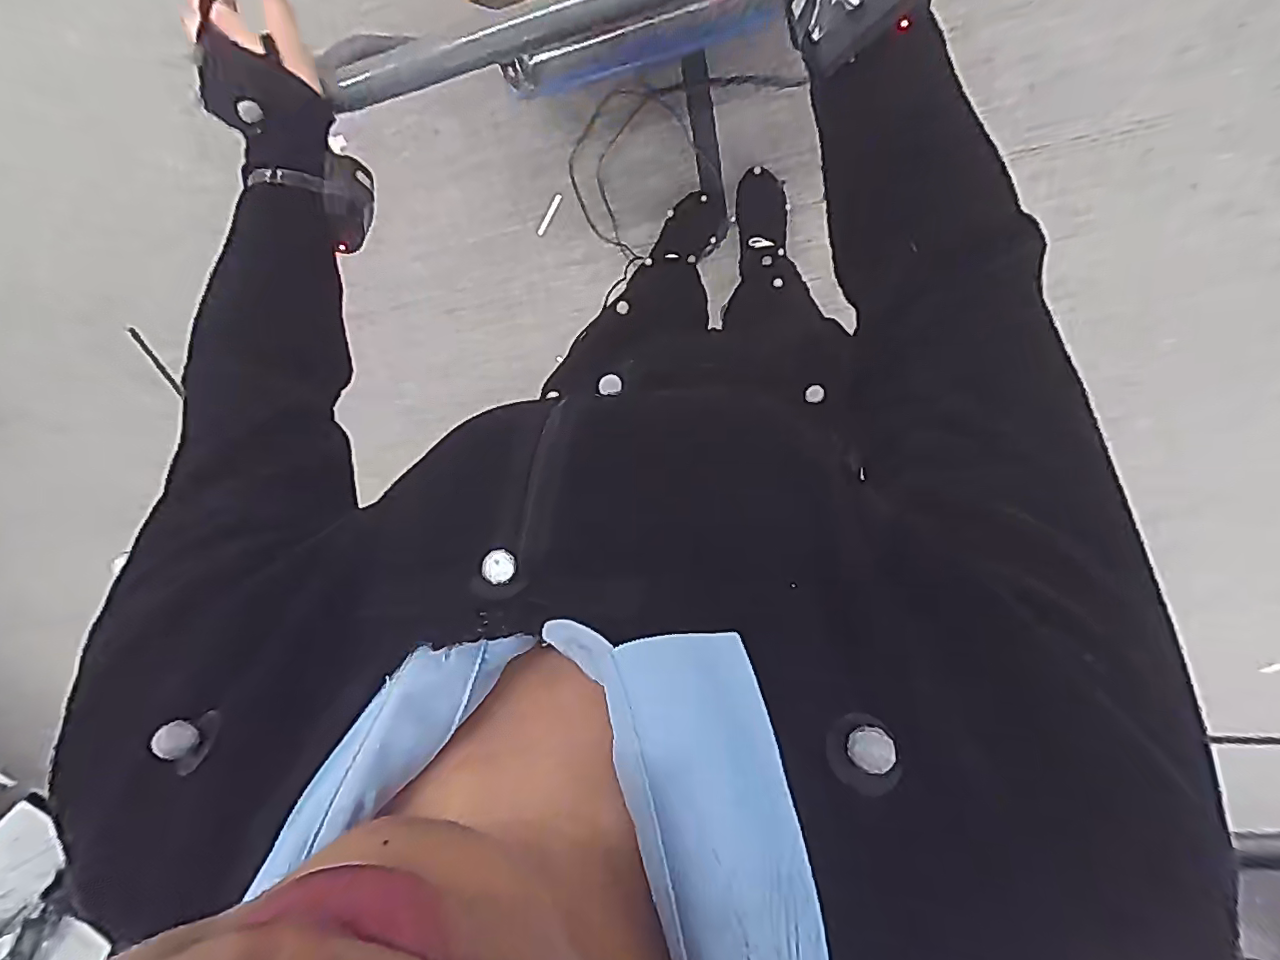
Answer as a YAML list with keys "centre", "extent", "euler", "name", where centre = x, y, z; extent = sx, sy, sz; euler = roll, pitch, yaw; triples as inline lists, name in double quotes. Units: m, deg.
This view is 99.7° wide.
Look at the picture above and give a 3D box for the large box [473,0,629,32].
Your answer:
- centre: [-0.045, -0.851, 0.699]
  extent: [0.408, 0.320, 0.320]
  euler: [-7, 123, 15]
  name: "large box"
